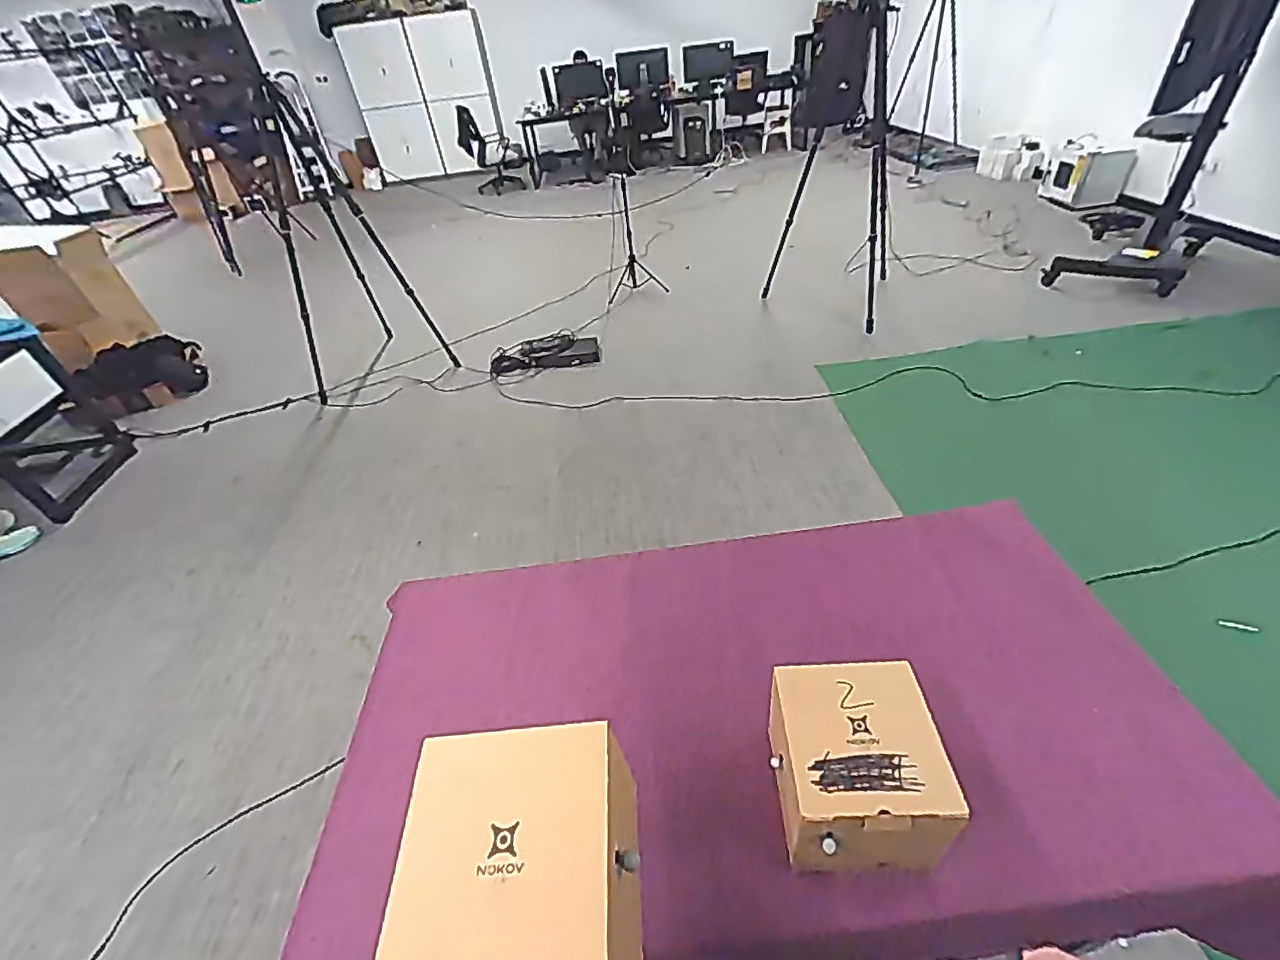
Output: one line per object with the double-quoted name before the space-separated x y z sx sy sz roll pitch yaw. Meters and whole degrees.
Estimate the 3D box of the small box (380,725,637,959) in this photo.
"small box" -0.096 0.343 0.480 0.168 0.176 0.179 -7 46 4
